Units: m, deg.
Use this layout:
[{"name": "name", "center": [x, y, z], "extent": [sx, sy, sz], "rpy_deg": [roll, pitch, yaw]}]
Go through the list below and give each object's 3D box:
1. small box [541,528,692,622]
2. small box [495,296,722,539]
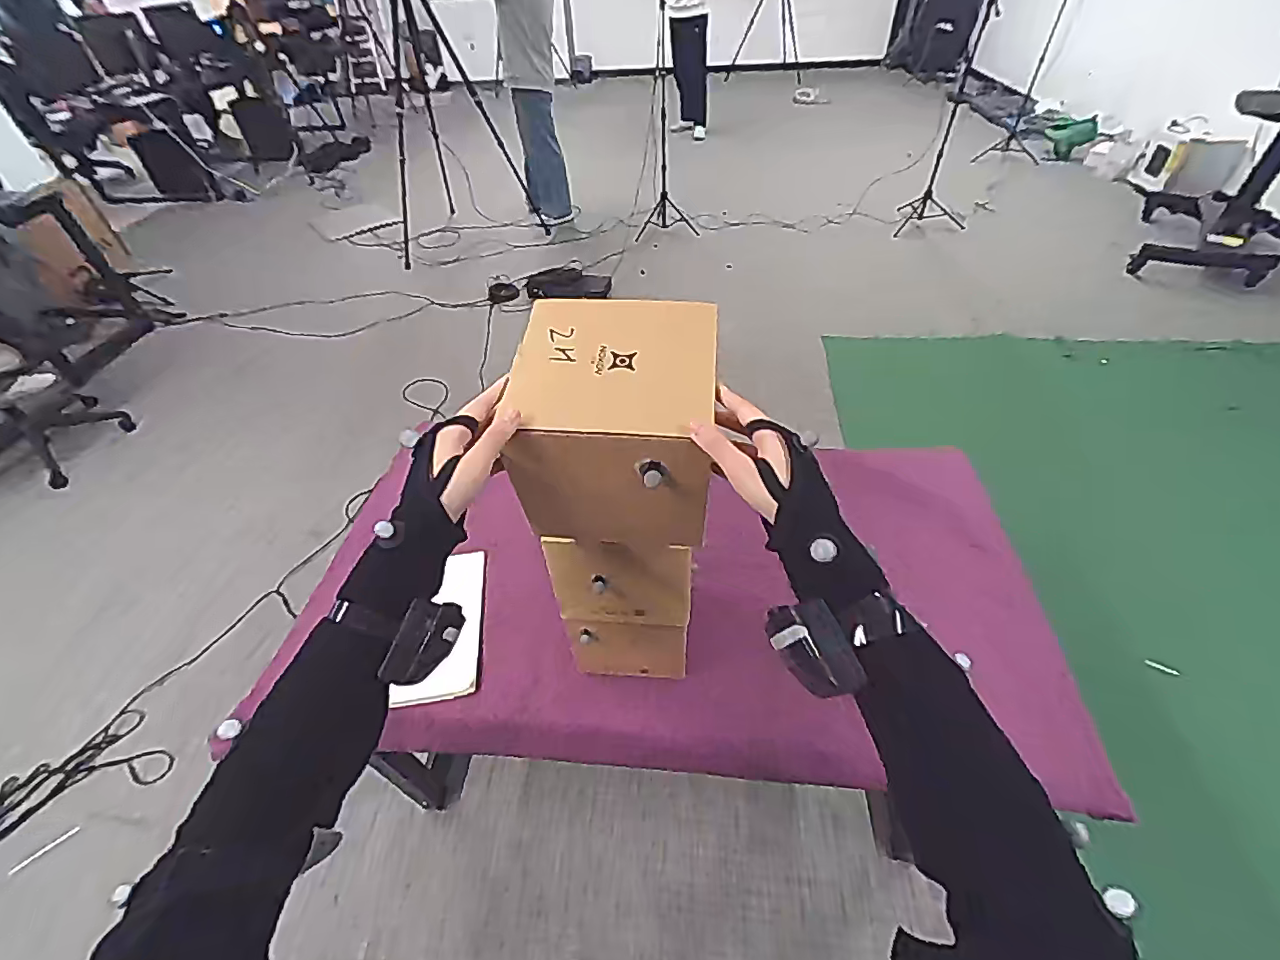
[{"name": "small box", "center": [-0.017, 0.065, 0.703], "extent": [0.168, 0.176, 0.179], "rpy_deg": [3, 44, 6]}, {"name": "small box", "center": [-0.016, -0.055, 0.527], "extent": [0.179, 0.176, 0.168], "rpy_deg": [3, 54, 6]}]
